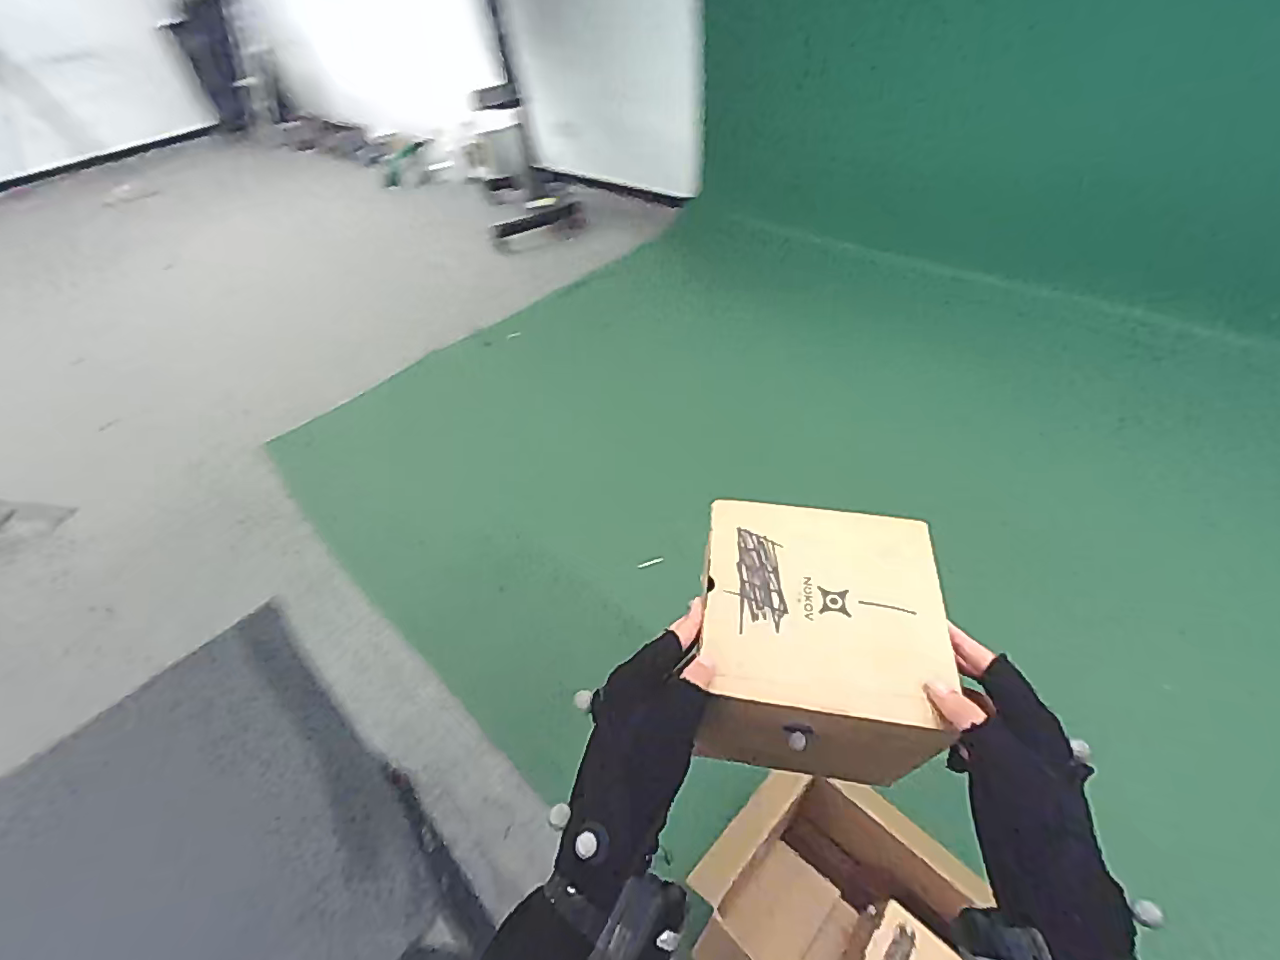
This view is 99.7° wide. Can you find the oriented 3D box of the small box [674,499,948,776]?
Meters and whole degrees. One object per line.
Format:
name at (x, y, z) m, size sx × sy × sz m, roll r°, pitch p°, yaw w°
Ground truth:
small box at (0.123, 0.136, 0.459) m, size 0.179 × 0.176 × 0.168 m, roll 5°, pitch 51°, yaw 6°
